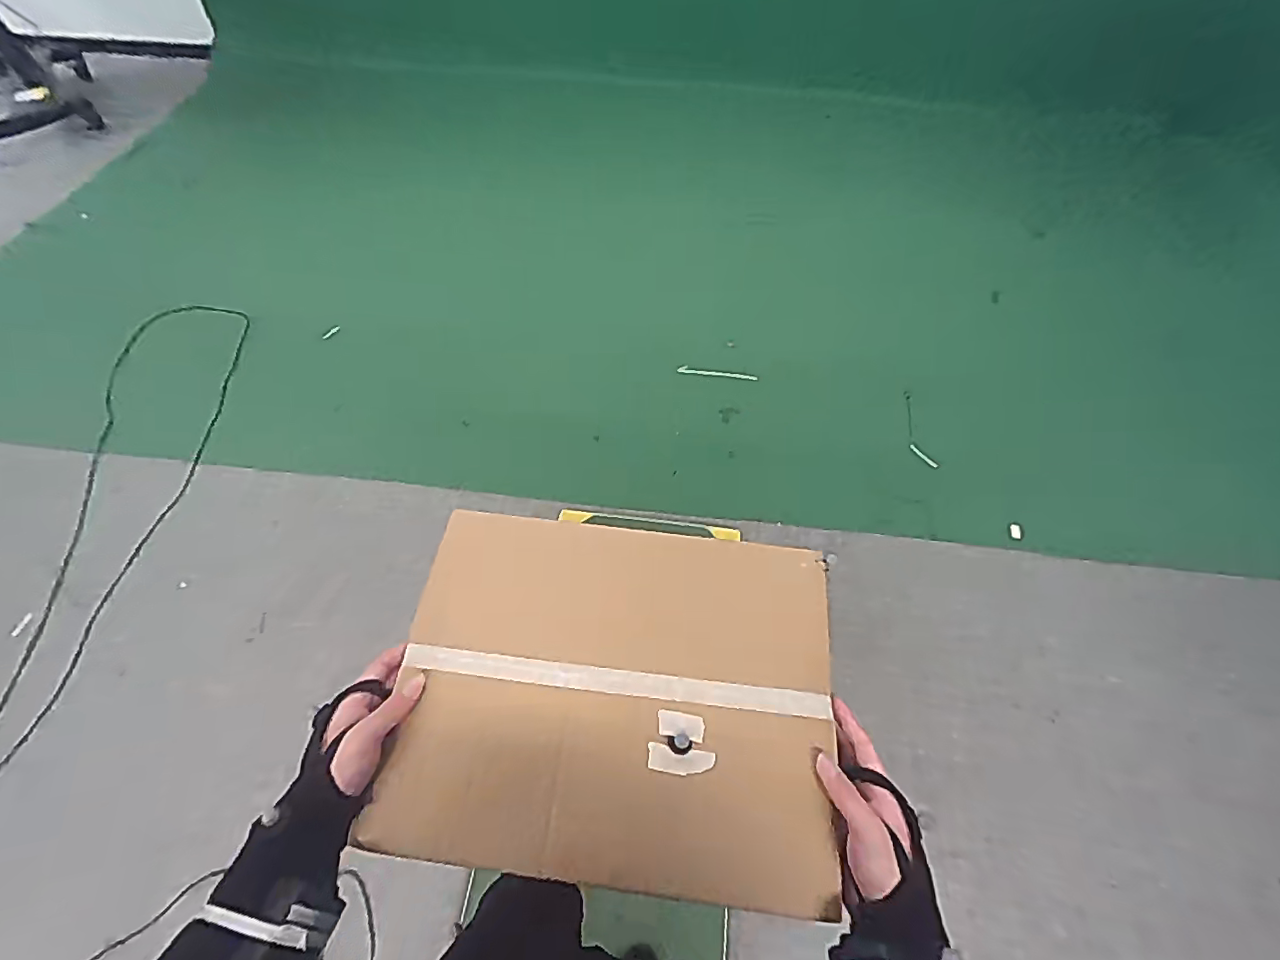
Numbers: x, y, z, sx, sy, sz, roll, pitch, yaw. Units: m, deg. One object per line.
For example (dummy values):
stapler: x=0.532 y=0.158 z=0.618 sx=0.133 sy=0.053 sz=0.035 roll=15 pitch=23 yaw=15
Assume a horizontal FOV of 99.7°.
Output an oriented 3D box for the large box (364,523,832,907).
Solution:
large box: x=-0.026 y=0.272 z=0.650 sx=0.408 sy=0.320 sz=0.320 roll=6 pitch=61 yaw=3
